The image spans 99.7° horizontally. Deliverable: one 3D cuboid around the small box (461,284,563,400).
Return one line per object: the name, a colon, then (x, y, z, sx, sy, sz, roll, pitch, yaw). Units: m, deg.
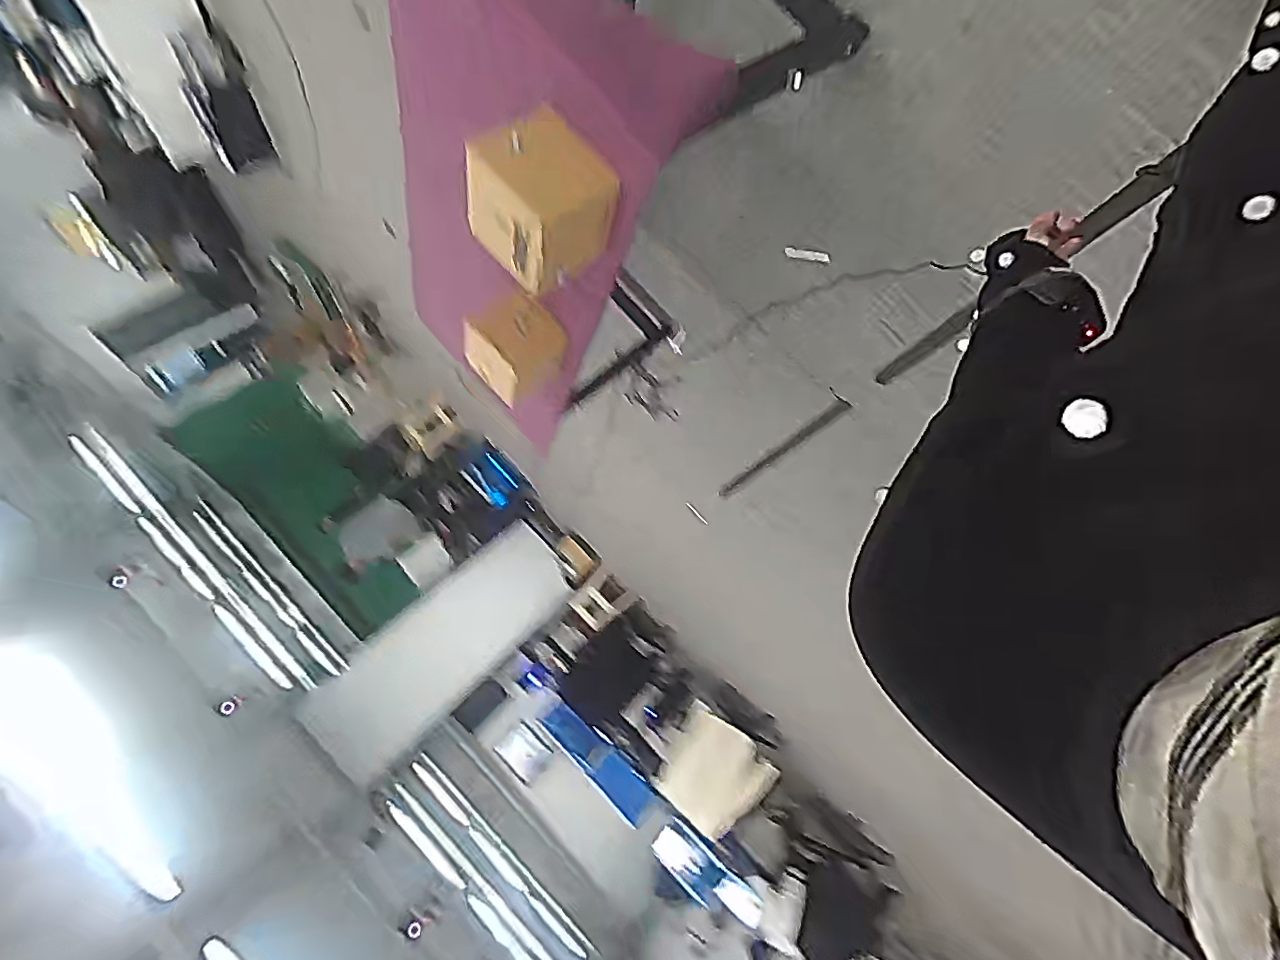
small box: (-0.305, -0.331, 1.294, 0.168, 0.176, 0.179, 47, 154, 1)
